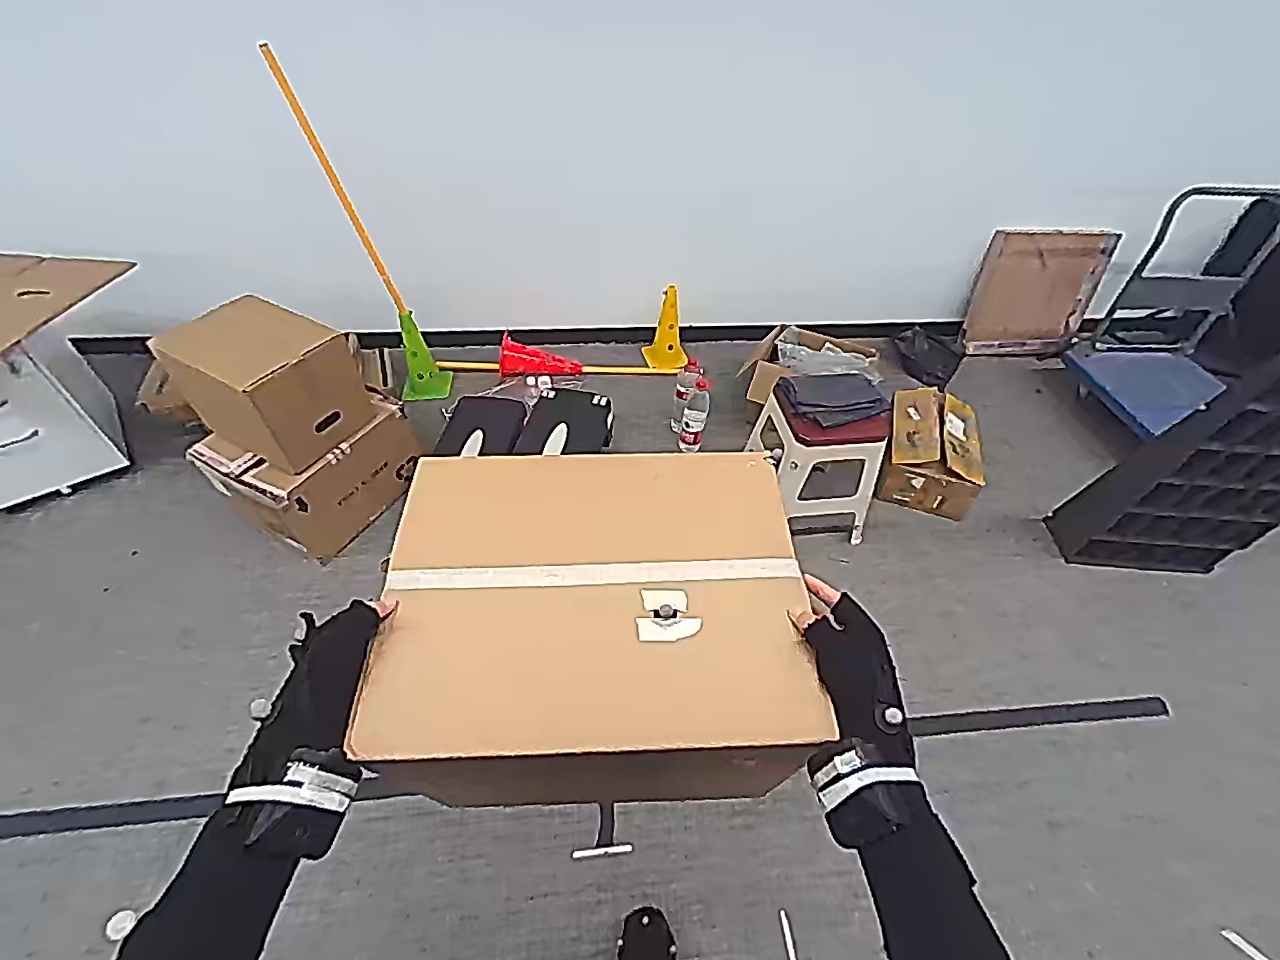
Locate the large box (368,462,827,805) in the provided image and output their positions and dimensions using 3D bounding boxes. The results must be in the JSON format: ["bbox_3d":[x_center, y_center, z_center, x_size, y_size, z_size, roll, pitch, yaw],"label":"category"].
[{"bbox_3d":[-0.044,0.195,0.668,0.408,0.320,0.320,-1,53,-3],"label":"large box"}]
